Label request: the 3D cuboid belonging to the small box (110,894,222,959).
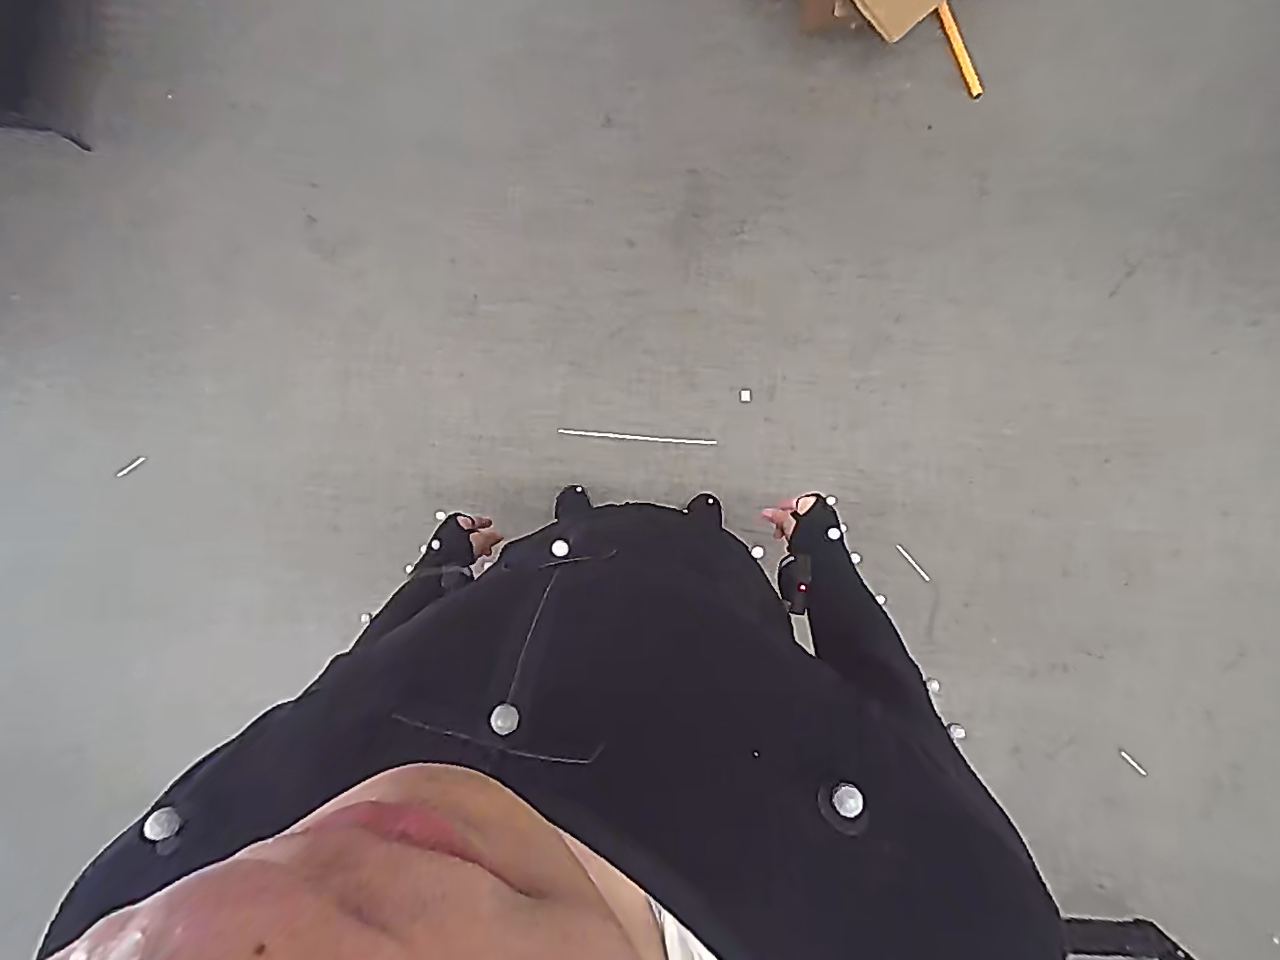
[{"bbox_3d":[-1.309,1.295,1.498,0.179,0.176,0.168,8,90,1],"label":"small box"}]
